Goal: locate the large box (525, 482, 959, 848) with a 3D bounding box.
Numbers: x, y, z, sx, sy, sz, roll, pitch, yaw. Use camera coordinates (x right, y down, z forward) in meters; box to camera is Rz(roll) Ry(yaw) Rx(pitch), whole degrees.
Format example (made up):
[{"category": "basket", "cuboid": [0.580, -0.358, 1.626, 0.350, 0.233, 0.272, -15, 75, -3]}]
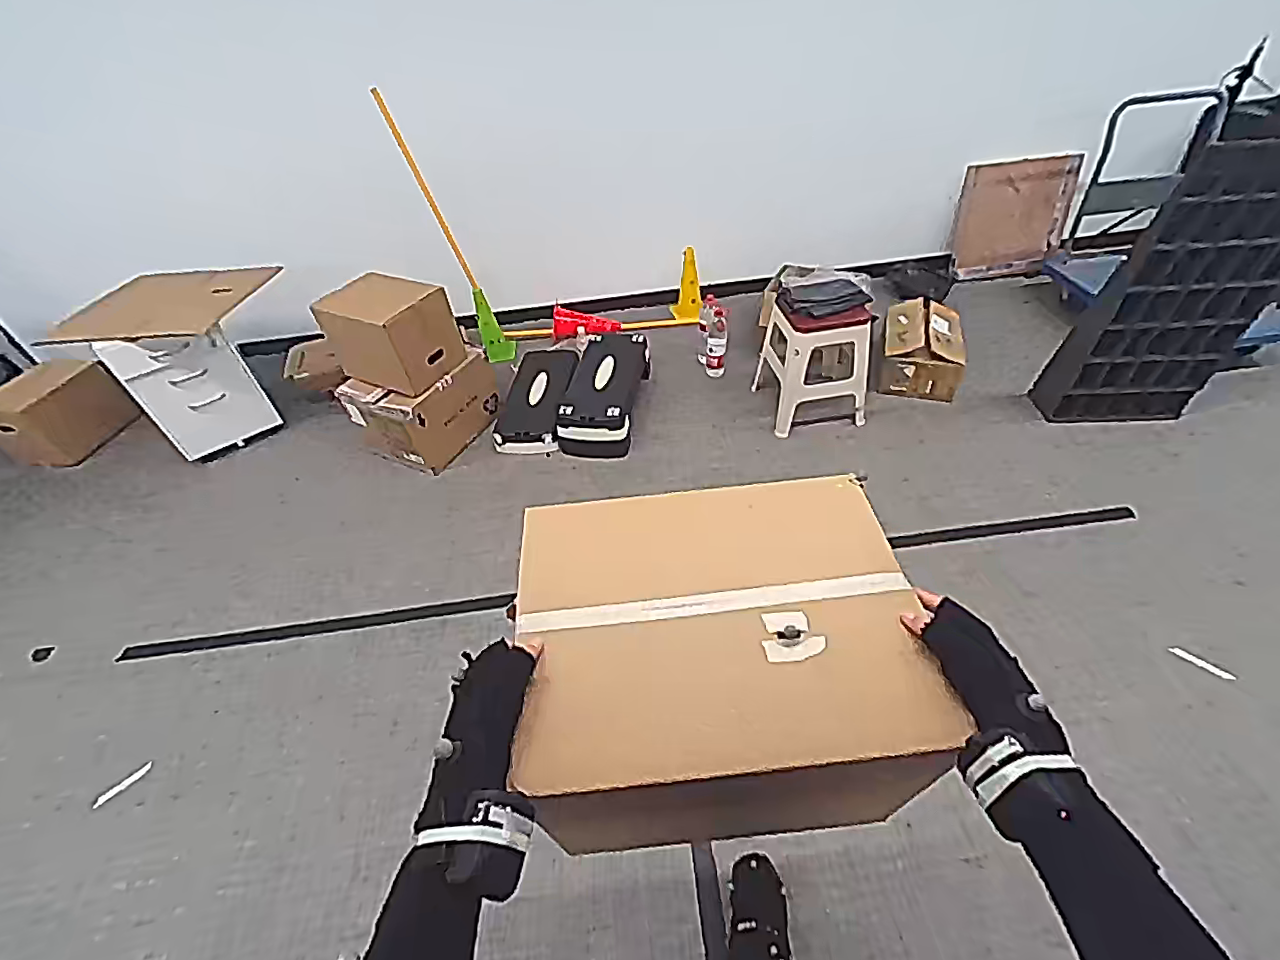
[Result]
[{"category": "large box", "cuboid": [0.085, 0.237, 0.688, 0.408, 0.320, 0.320, -6, 48, -1]}]
